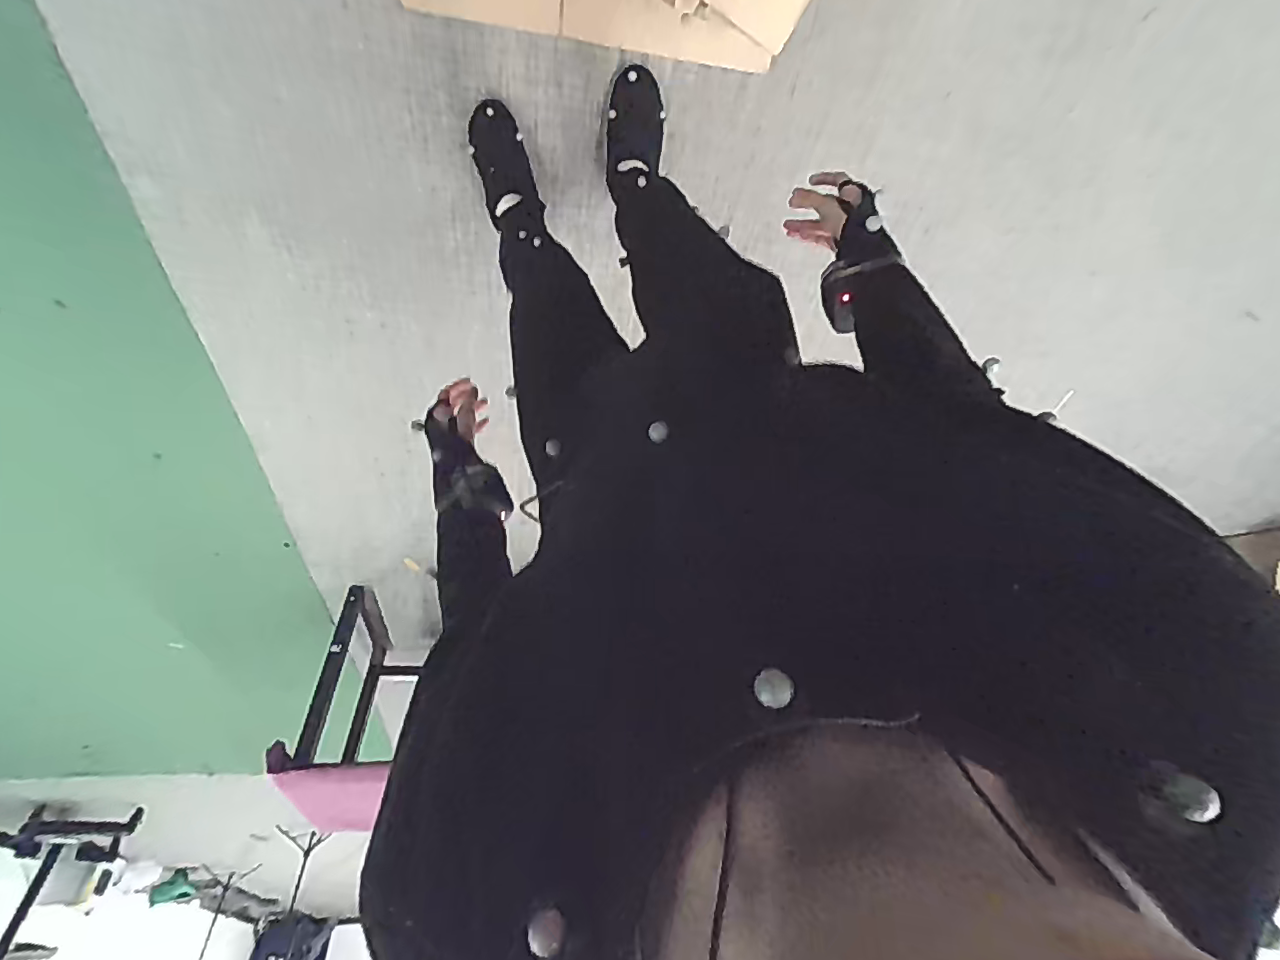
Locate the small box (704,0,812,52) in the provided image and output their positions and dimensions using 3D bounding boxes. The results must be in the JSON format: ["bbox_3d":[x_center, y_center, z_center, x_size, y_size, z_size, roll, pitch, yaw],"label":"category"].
[{"bbox_3d":[0.161,-0.735,0.731,0.168,0.176,0.179,18,131,-24],"label":"small box"}]
